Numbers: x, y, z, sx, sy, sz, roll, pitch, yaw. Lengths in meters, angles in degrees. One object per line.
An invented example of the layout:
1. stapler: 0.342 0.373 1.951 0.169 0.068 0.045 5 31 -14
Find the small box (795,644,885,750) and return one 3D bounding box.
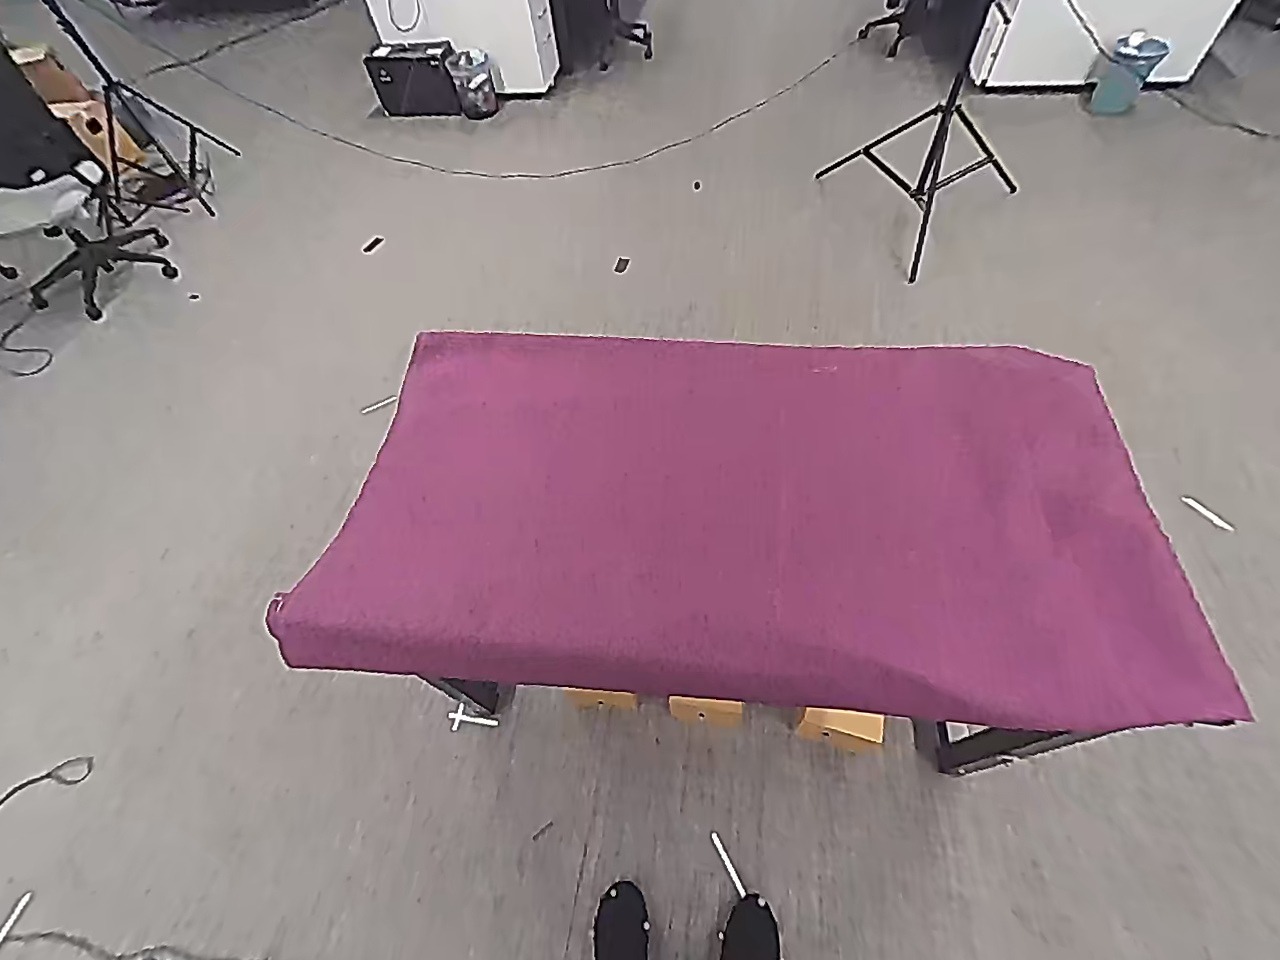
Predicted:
1. small box: 0.470 0.521 1.285 0.168 0.176 0.179 12 57 13

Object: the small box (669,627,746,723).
1. small box: 0.167 0.485 1.334 0.168 0.176 0.179 6 56 9
